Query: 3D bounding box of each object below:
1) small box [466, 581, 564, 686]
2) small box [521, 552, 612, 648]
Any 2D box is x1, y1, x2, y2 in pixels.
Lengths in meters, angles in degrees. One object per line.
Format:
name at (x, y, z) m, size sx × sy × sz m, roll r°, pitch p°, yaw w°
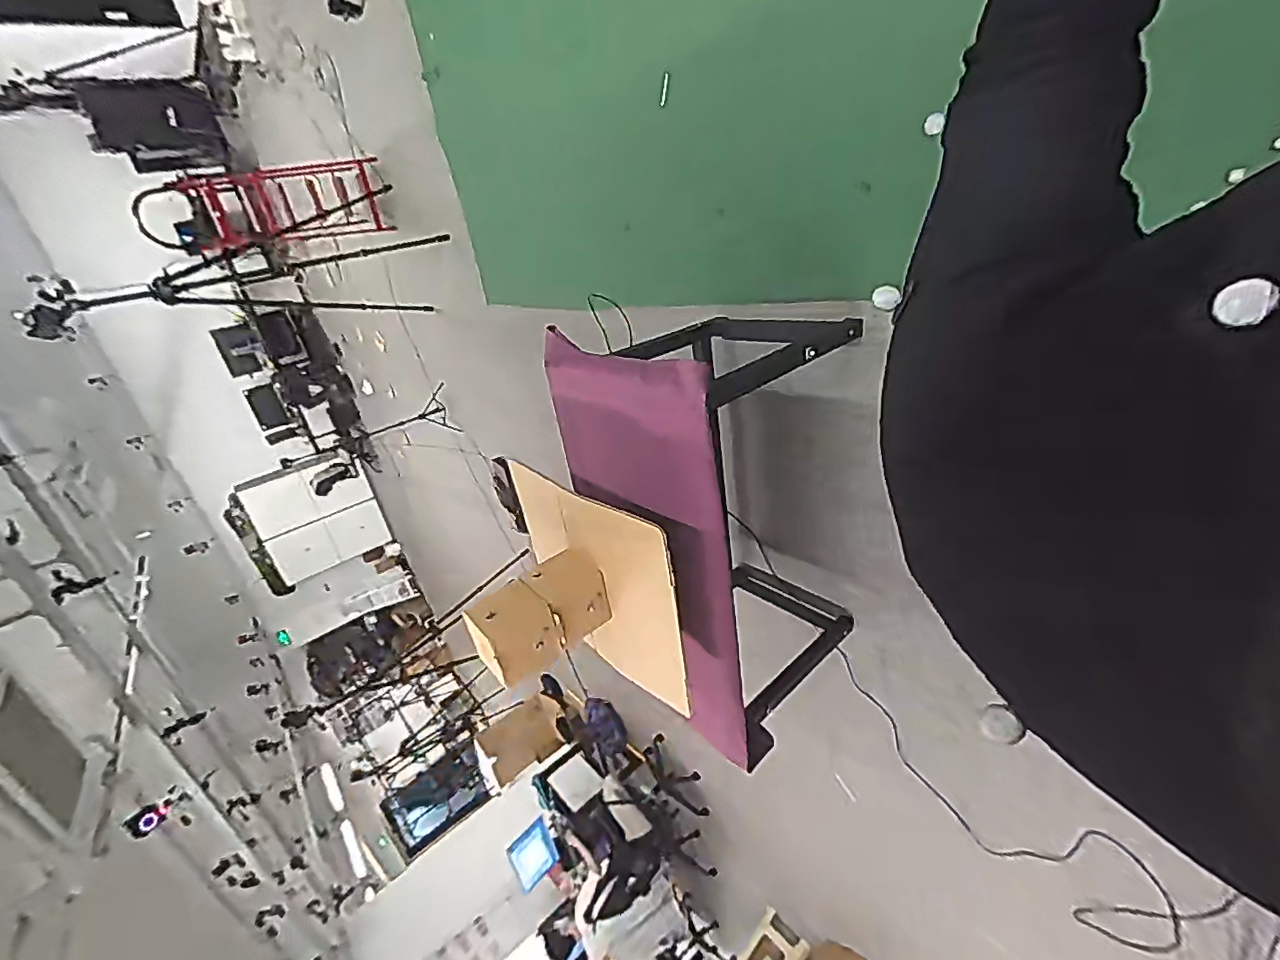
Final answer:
small box at (-0.320, 0.386, 1.399) m, size 0.179 × 0.176 × 0.168 m, roll 22°, pitch 130°, yaw 48°
small box at (-0.199, 0.320, 1.487) m, size 0.179 × 0.176 × 0.168 m, roll 24°, pitch 133°, yaw 46°
